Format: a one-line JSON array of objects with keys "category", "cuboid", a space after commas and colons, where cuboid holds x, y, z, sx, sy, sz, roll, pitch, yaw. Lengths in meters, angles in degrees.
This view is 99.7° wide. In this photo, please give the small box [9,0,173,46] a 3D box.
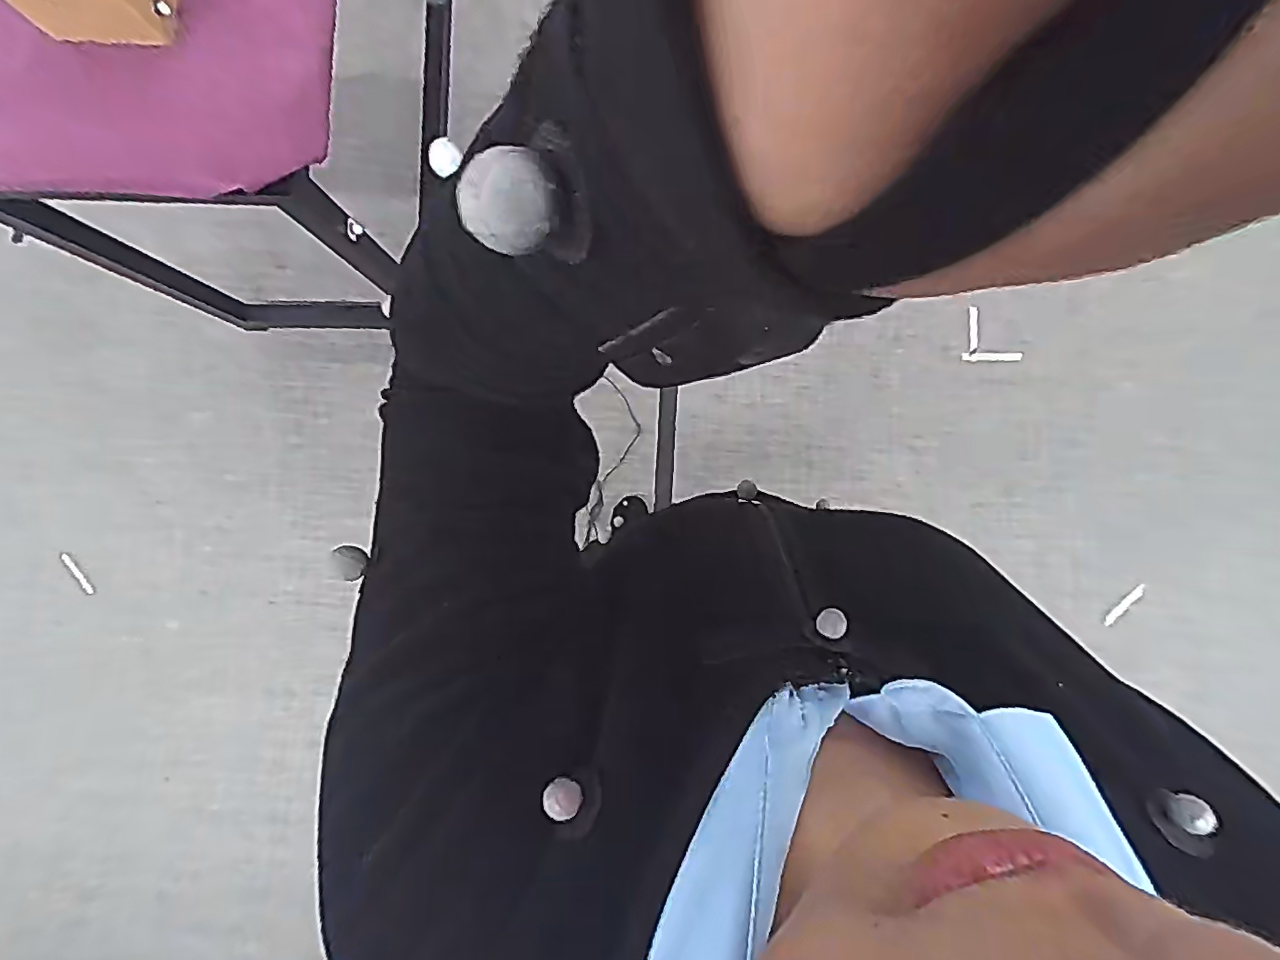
[{"category": "small box", "cuboid": [-0.769, -0.727, 0.722, 0.179, 0.176, 0.168, 2, 87, 0]}]
